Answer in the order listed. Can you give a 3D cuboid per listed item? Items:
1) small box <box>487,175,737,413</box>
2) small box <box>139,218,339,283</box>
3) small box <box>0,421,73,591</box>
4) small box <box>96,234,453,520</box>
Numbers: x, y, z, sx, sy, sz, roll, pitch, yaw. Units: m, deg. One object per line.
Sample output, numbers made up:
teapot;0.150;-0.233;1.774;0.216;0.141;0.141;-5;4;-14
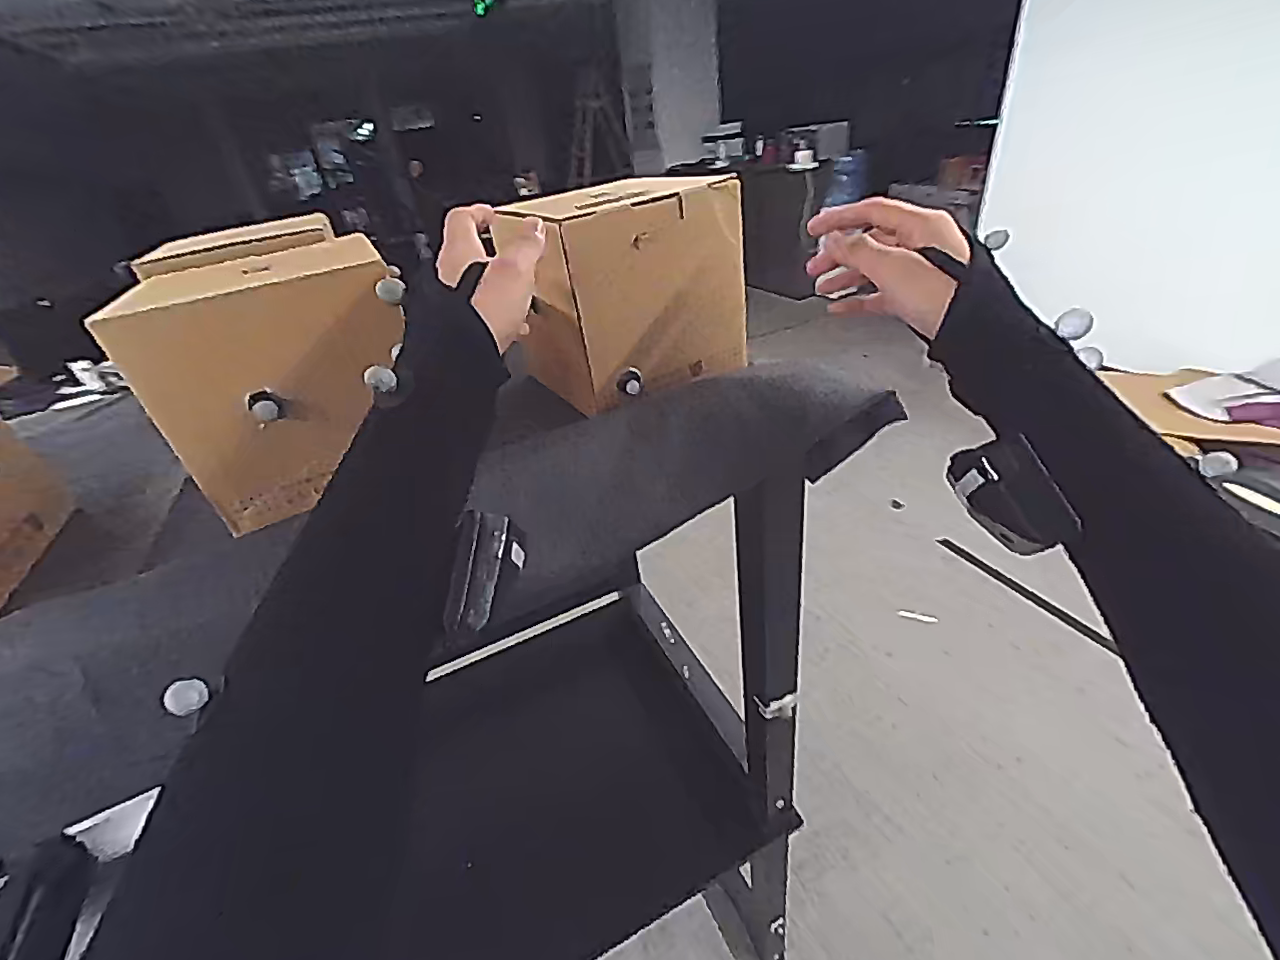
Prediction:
small box;-0.022;-0.180;0.517;0.168;0.176;0.179;-24;35;-21
small box;-0.431;-0.204;0.654;0.179;0.176;0.168;-21;36;-17
small box;-0.545;0.020;0.349;0.179;0.176;0.168;-21;35;-18
small box;-0.270;-0.087;0.445;0.168;0.176;0.179;-22;35;-19
